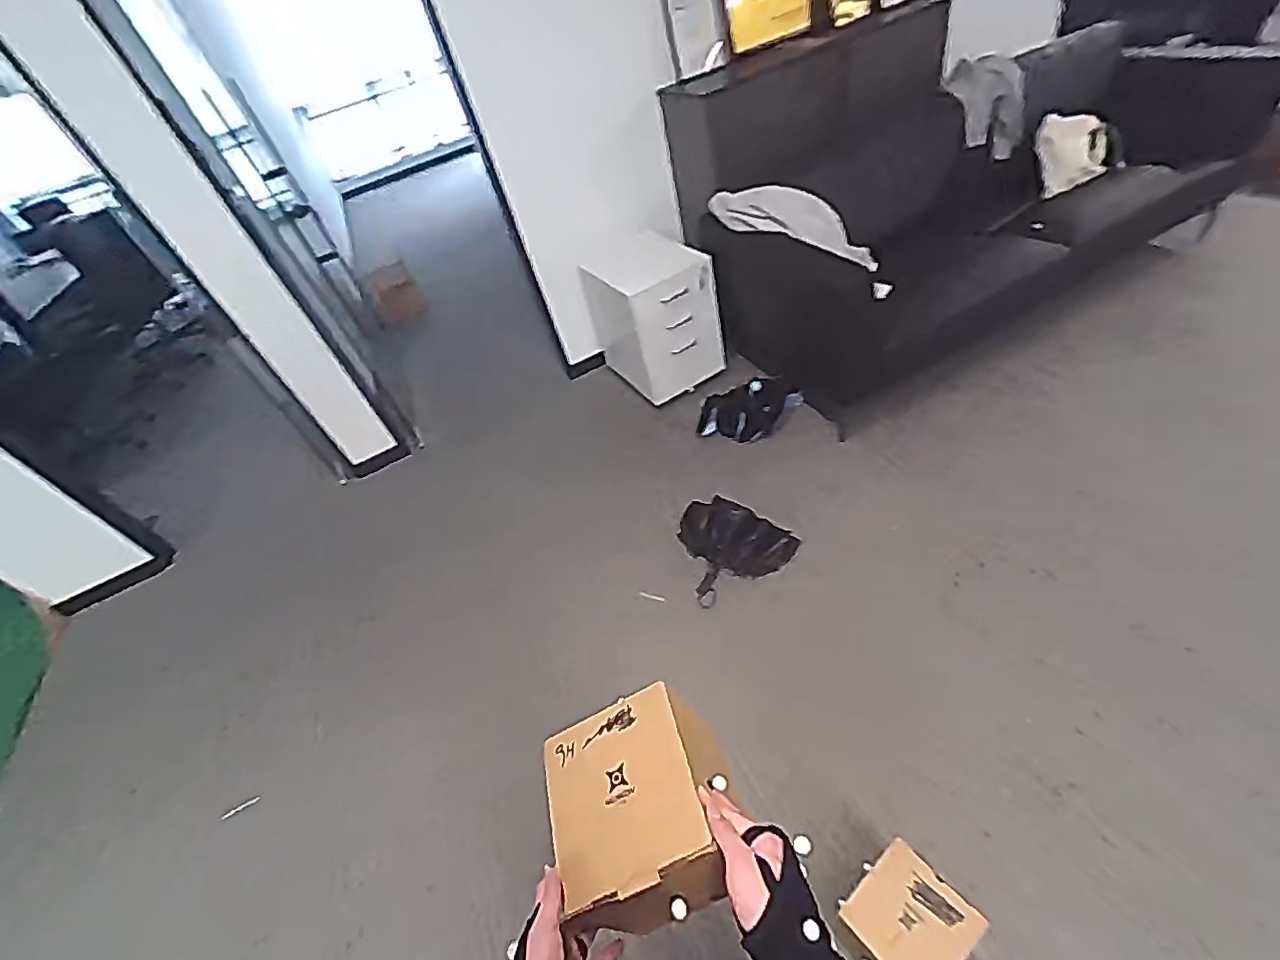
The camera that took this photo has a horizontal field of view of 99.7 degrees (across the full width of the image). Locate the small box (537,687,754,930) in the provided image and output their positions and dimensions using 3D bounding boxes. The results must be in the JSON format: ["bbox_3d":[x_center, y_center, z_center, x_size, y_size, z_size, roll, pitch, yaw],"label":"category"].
[{"bbox_3d":[0.006,0.373,0.610,0.168,0.176,0.179,-30,41,7],"label":"small box"}]

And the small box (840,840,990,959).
[{"bbox_3d":[0.472,0.789,0.956,0.179,0.176,0.168,-37,47,-17],"label":"small box"}]
